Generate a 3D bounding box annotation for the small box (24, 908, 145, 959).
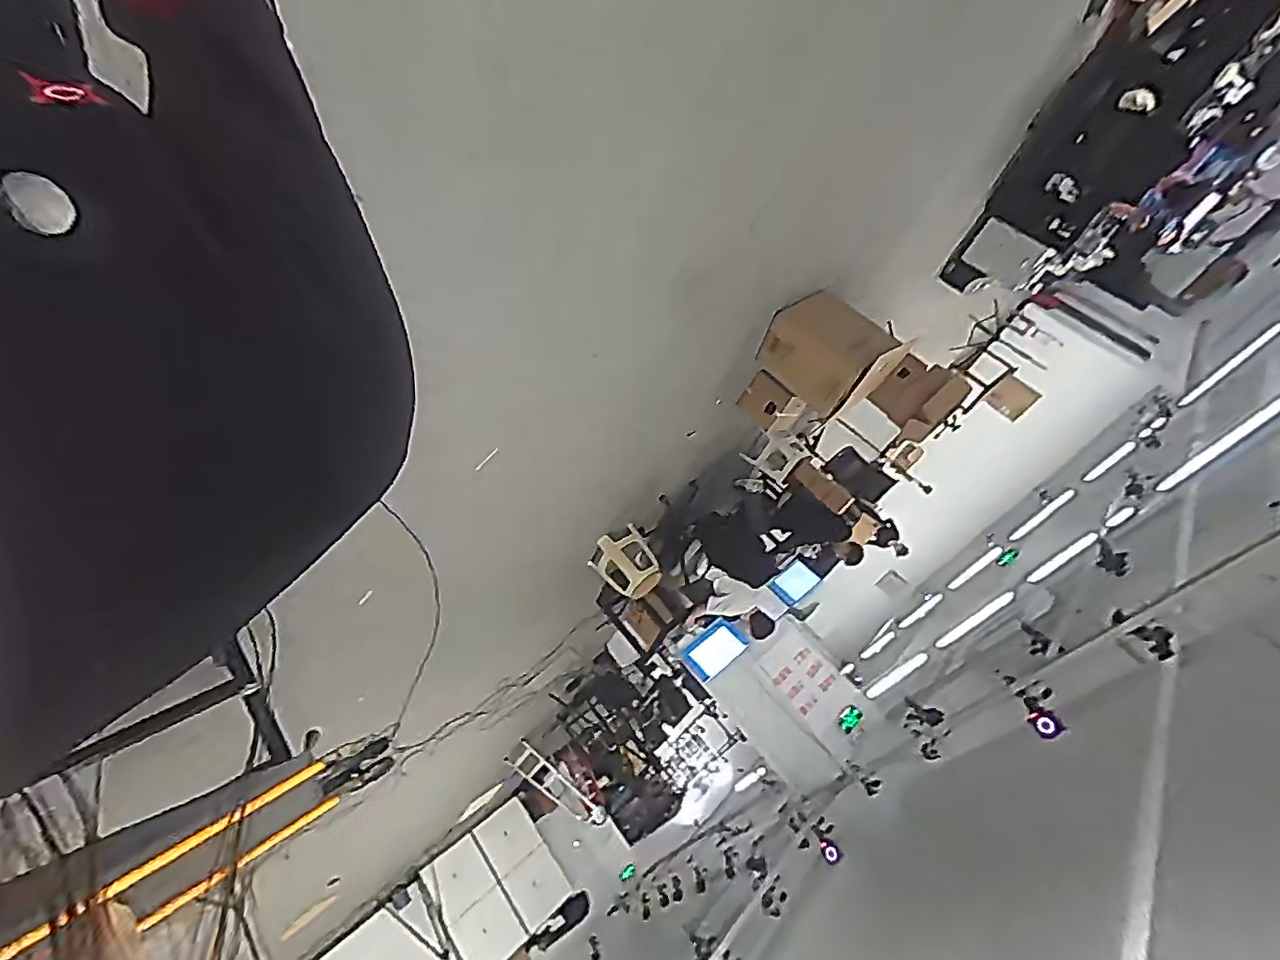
[{"bbox_3d":[-1.379,1.217,1.350,0.168,0.176,0.179,-27,153,-39],"label":"small box"}]
